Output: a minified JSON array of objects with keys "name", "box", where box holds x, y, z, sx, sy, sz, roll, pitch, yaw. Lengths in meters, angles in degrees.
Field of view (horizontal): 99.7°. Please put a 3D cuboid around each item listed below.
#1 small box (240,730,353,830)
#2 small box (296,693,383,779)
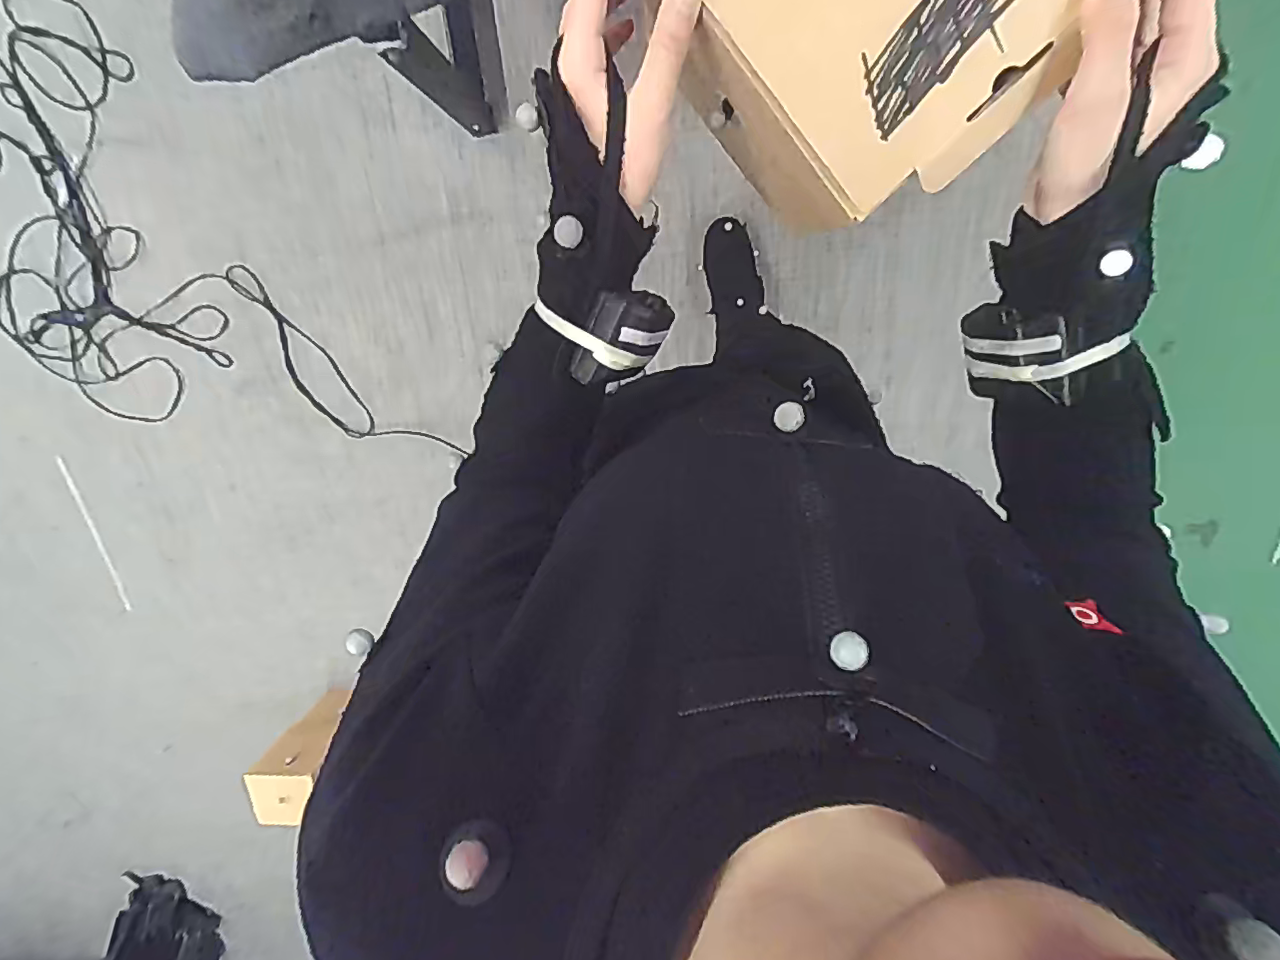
[{"name":"small box","box":[-0.900,0.788,1.434,0.179,0.176,0.168,-1,108,2]},{"name":"small box","box":[-0.880,0.749,1.592,0.179,0.176,0.168,-2,108,2]}]
